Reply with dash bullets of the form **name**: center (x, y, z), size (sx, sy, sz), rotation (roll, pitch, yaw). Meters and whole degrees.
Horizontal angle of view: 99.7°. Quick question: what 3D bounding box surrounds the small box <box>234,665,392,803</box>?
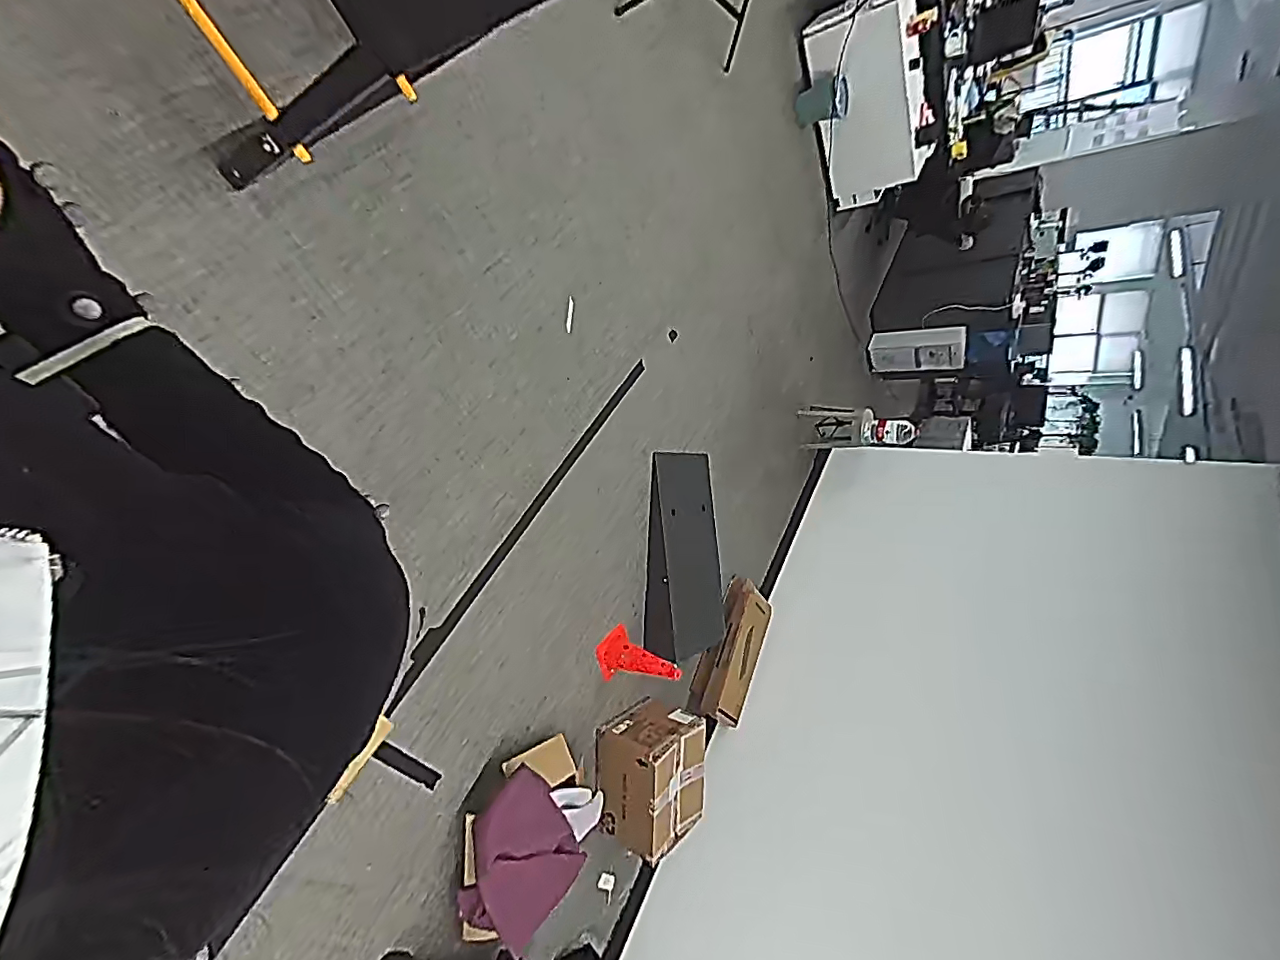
- **small box**: center (-0.643, 0.493, 1.069), size (0.168, 0.176, 0.179), rotation (-56, 134, -33)
